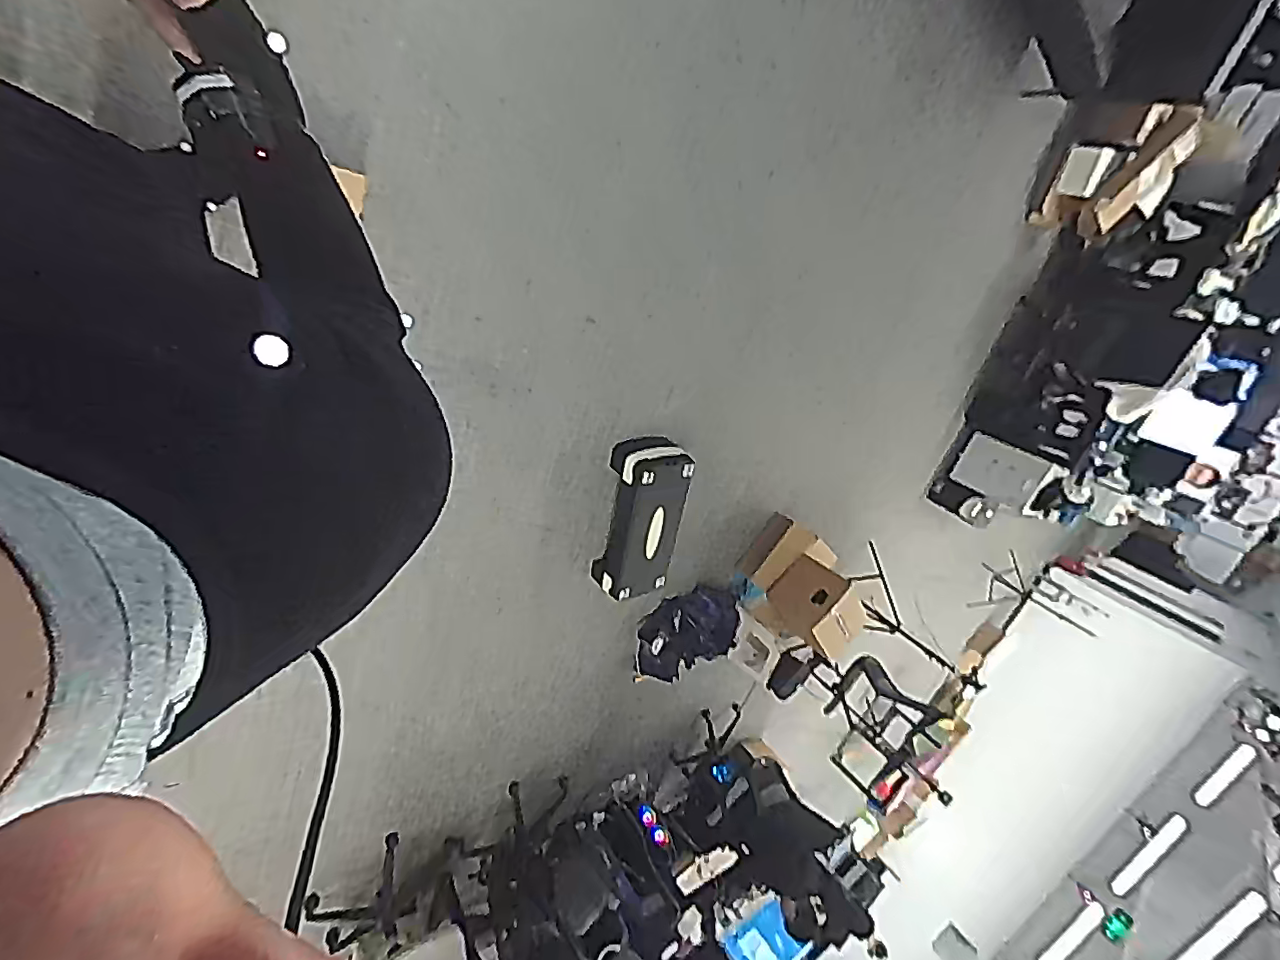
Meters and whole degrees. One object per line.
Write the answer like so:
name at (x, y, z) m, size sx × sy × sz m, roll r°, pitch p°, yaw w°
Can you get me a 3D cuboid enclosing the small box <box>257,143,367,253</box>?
small box at (-0.709, -0.610, 1.165) m, size 0.179 × 0.176 × 0.168 m, roll -1°, pitch 118°, yaw -39°
